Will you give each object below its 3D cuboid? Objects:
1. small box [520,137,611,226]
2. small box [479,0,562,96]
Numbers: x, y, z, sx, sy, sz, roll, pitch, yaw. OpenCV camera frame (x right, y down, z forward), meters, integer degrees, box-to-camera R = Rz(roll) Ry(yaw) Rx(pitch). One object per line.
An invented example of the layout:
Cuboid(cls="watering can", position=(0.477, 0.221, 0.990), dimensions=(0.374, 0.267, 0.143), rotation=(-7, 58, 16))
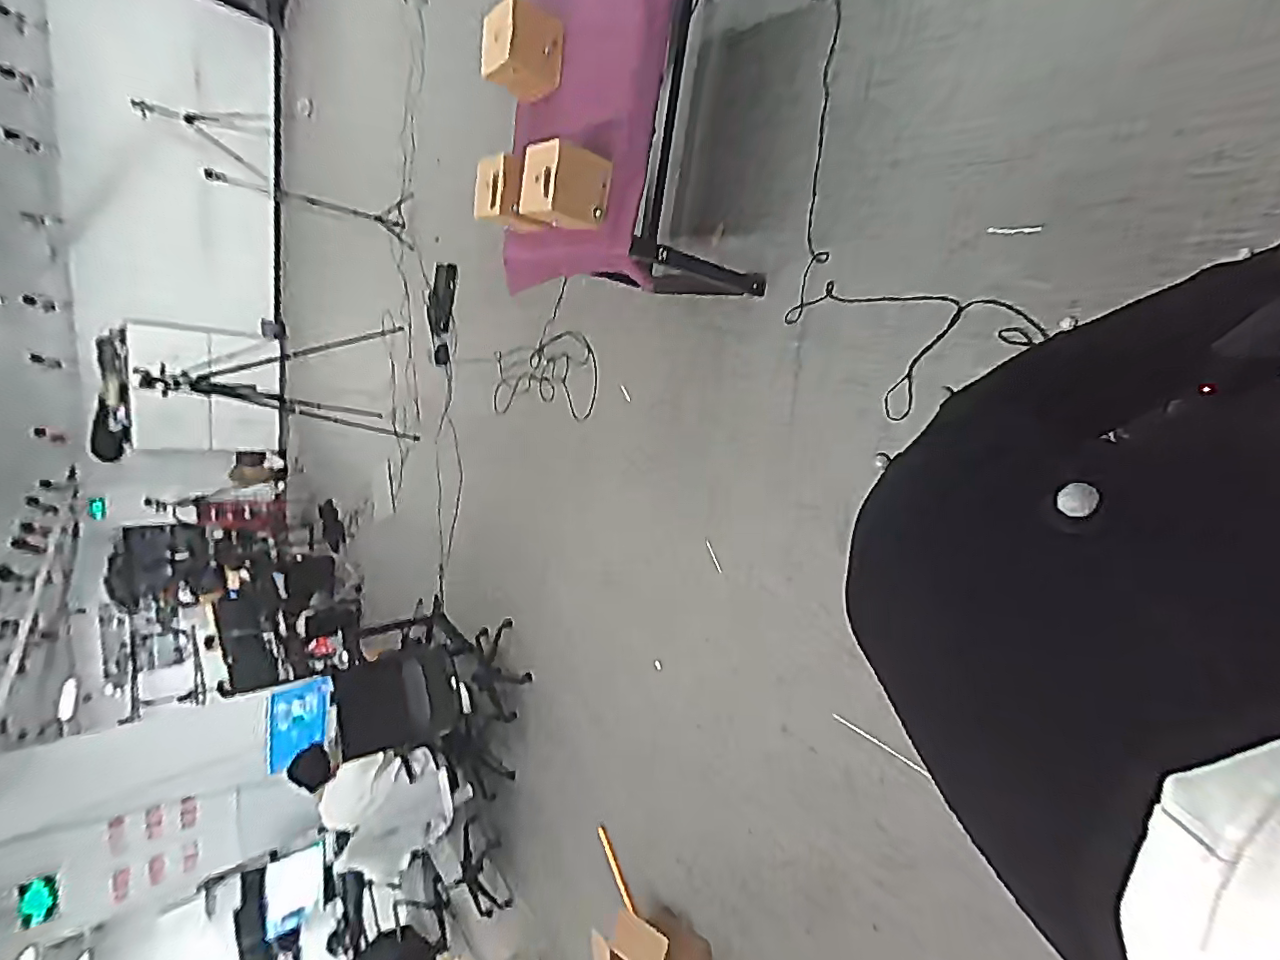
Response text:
Cuboid(cls="small box", position=(-0.198, -0.788, 1.441), dimensions=(0.179, 0.176, 0.168), rotation=(27, 112, 45))
Cuboid(cls="small box", position=(-0.350, -1.264, 1.579), dimensions=(0.179, 0.176, 0.168), rotation=(16, 105, 45))
